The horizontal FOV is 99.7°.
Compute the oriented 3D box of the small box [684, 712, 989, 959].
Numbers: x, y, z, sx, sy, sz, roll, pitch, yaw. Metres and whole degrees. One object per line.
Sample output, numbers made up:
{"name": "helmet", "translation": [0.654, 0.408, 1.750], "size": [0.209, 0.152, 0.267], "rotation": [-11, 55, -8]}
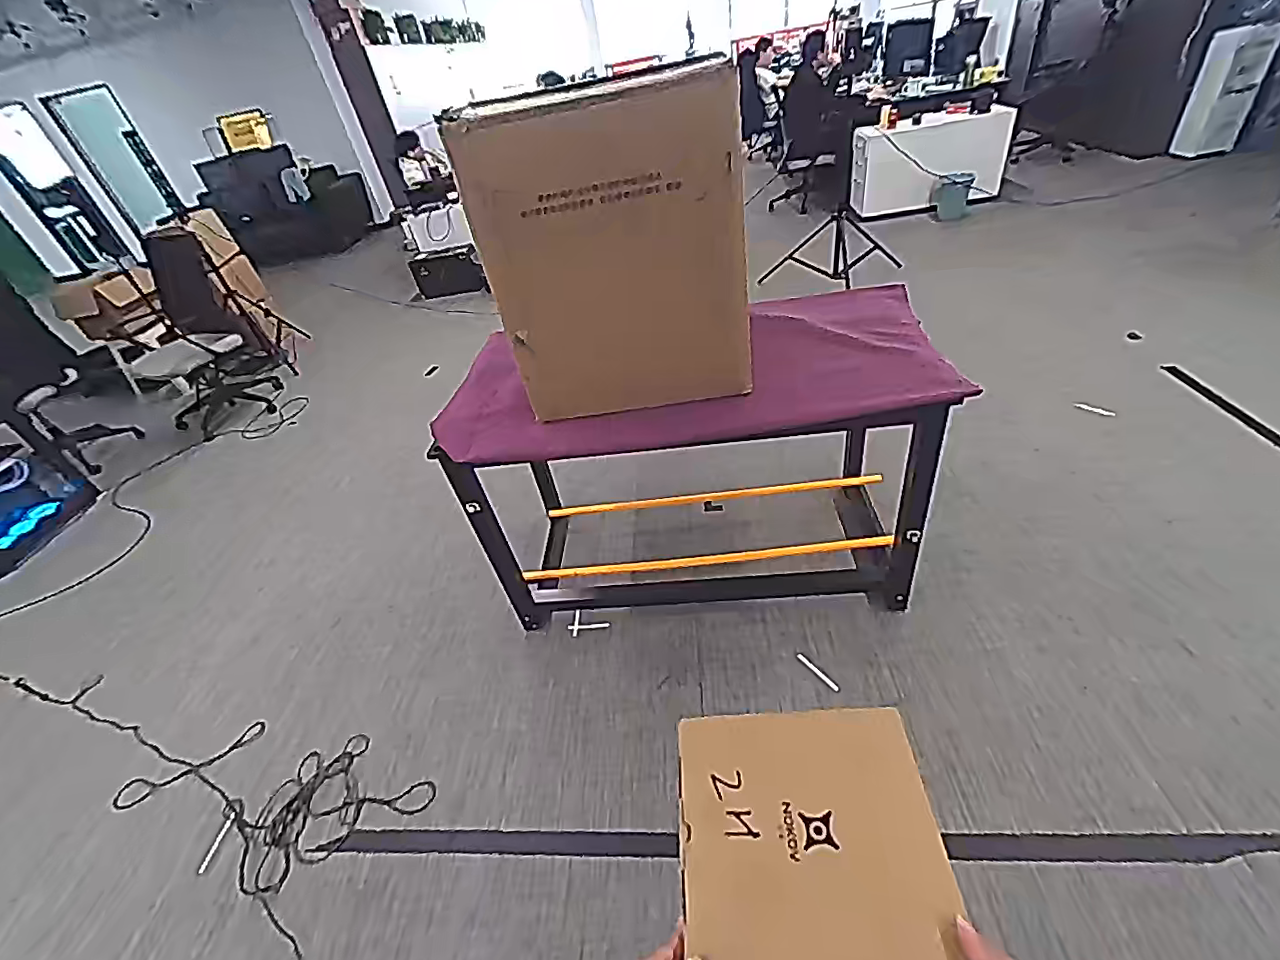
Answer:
{"name": "small box", "translation": [0.131, 0.302, 0.423], "size": [0.179, 0.176, 0.168], "rotation": [-7, 40, 8]}
